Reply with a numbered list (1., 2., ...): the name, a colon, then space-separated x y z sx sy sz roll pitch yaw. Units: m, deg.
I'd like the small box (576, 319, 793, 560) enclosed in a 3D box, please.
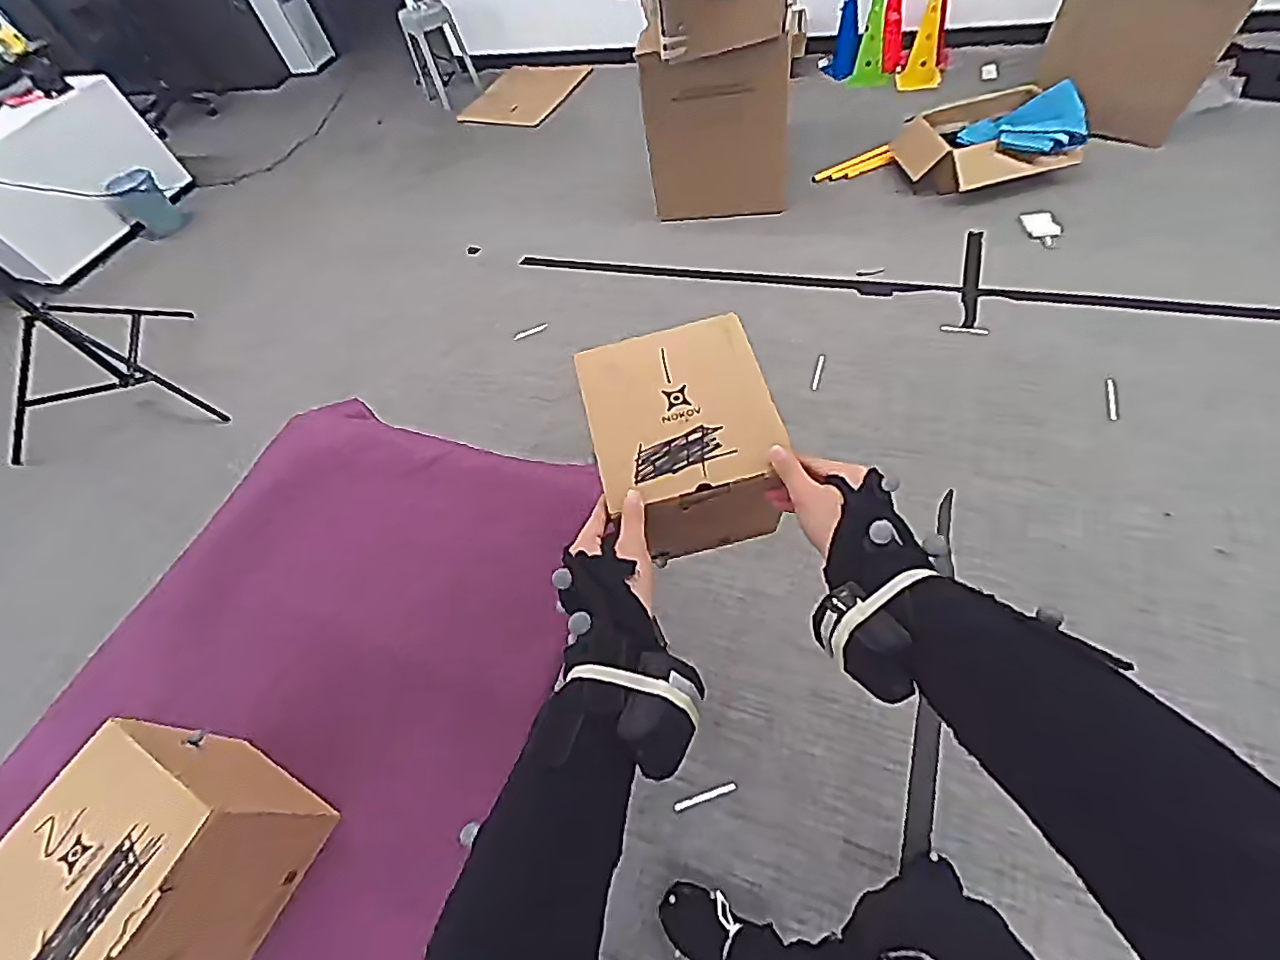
1. small box: 0.043 -0.029 0.562 0.168 0.176 0.179 -15 63 -1
